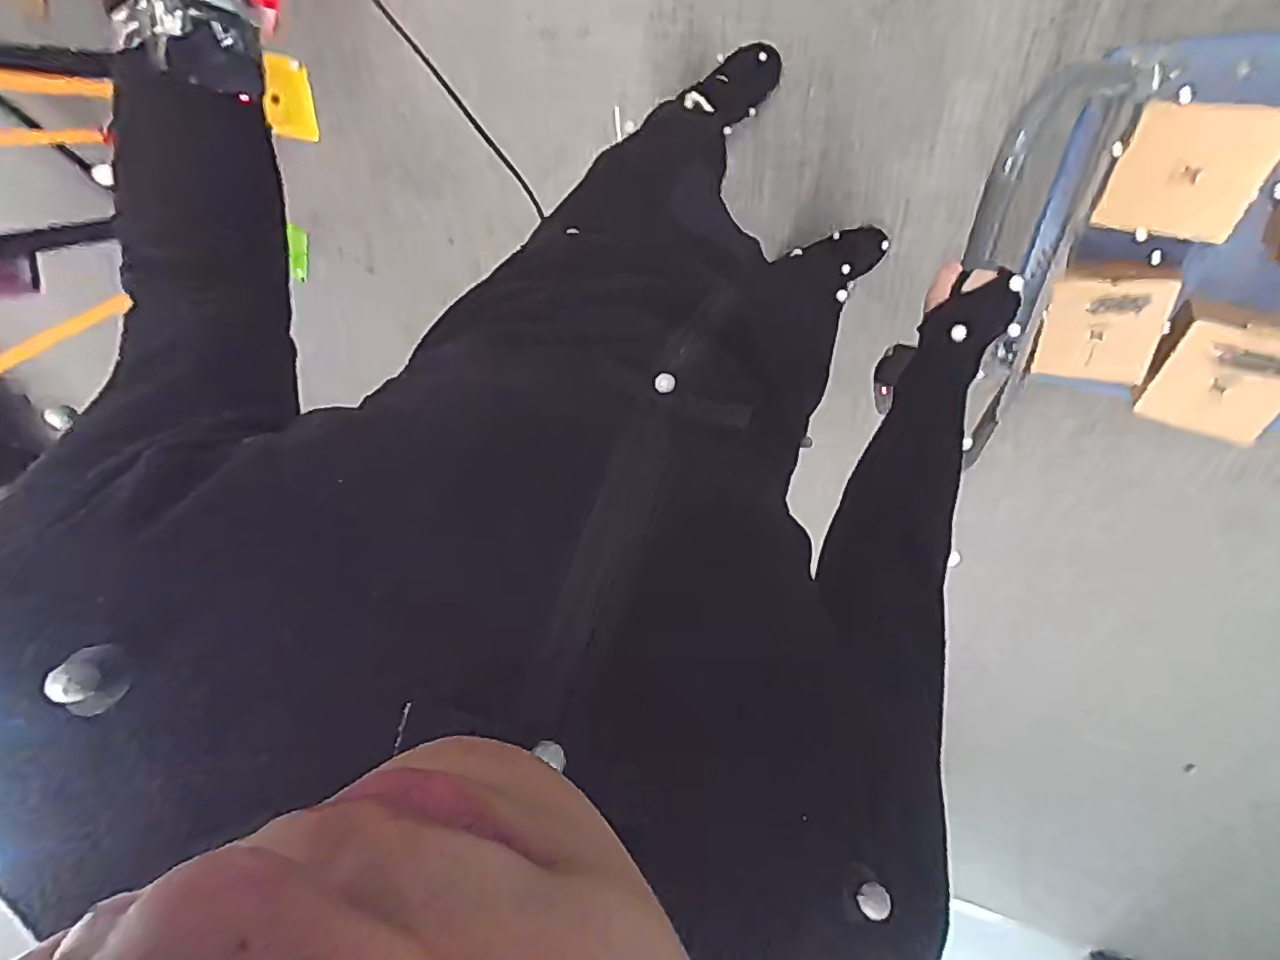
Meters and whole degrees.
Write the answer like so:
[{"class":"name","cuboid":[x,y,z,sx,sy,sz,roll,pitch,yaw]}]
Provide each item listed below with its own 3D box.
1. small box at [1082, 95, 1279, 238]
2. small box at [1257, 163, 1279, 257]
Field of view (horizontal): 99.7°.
[{"class":"small box","cuboid":[0.845,-0.499,0.851,0.179,0.176,0.168,26,134,26]},{"class":"small box","cuboid":[1.018,-0.419,0.753,0.179,0.176,0.168,11,127,36]}]
